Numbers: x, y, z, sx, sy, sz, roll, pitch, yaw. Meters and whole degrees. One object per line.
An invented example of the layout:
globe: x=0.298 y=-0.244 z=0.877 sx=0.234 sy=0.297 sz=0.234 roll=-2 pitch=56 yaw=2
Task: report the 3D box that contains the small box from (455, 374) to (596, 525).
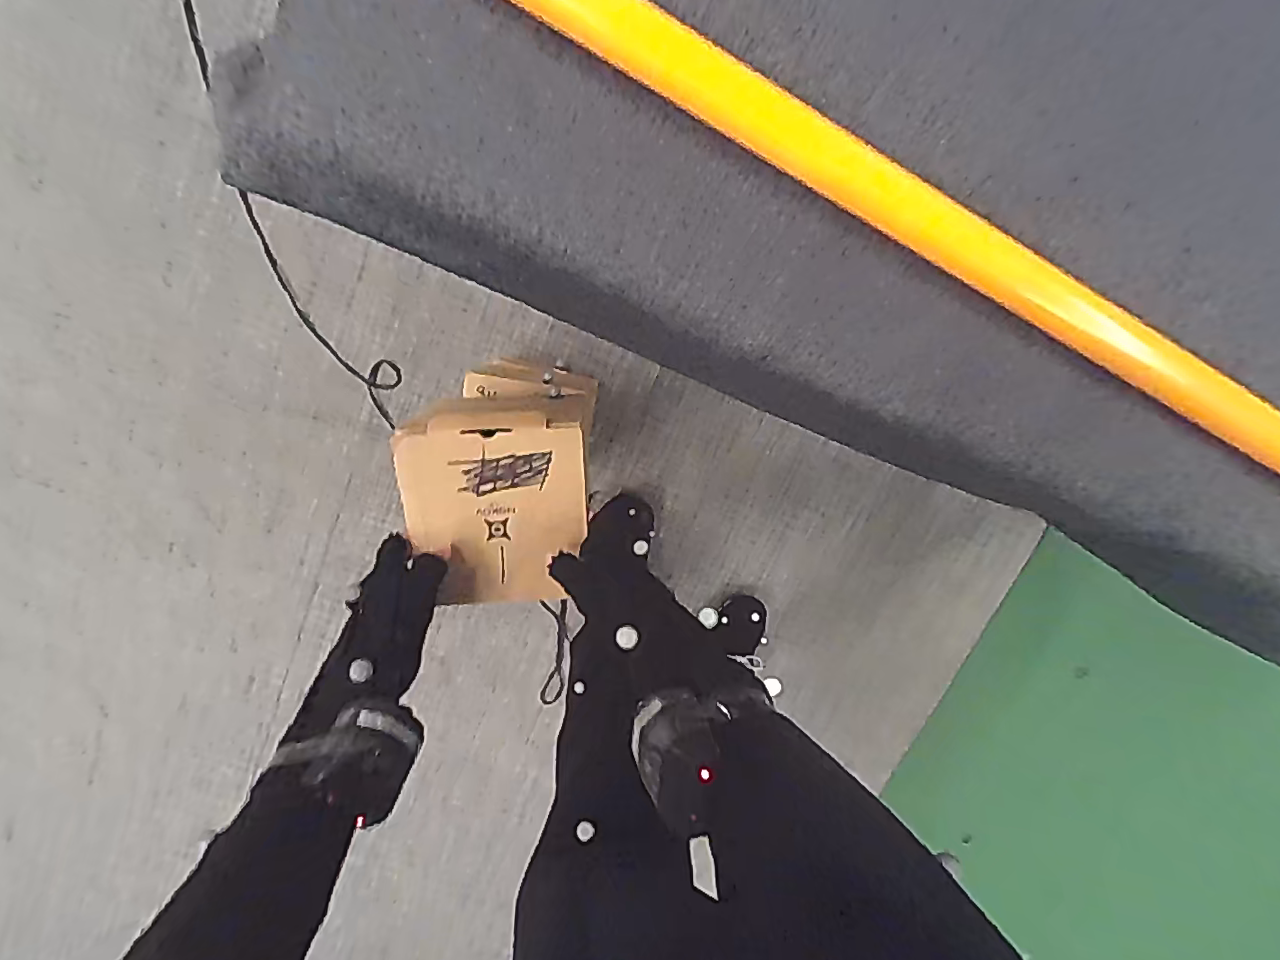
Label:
small box: x=-0.156 y=-0.052 z=0.778 sx=0.168 sy=0.176 sz=0.179 roll=7 pitch=103 yaw=-4
